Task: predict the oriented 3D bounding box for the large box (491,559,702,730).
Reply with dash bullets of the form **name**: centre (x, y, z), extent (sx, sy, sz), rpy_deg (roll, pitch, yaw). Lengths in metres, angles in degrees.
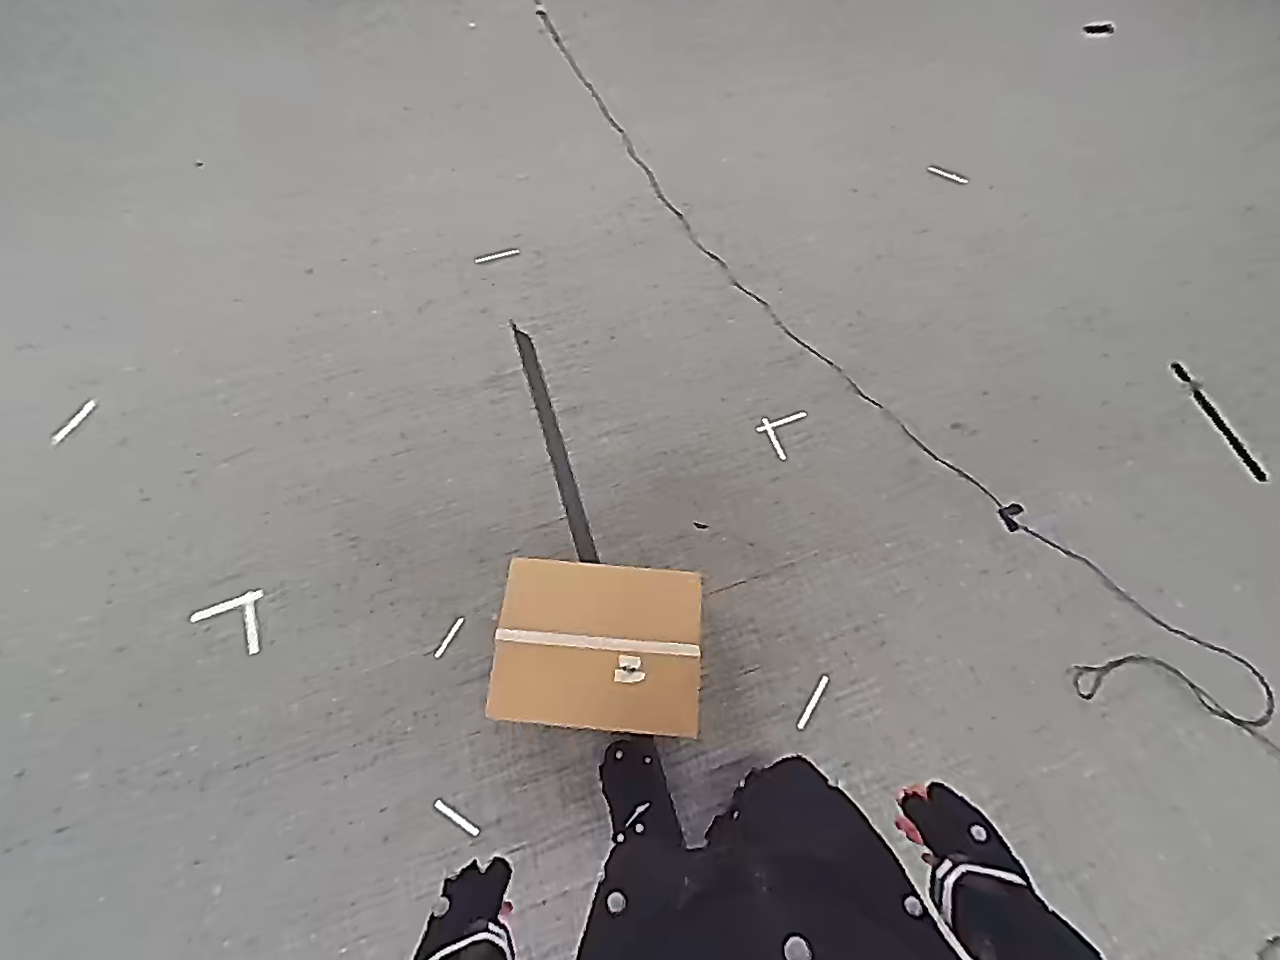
- **large box**: centre (-0.082, 0.374, 1.218), extent (0.408, 0.320, 0.320), rpy_deg (4, 70, 1)
